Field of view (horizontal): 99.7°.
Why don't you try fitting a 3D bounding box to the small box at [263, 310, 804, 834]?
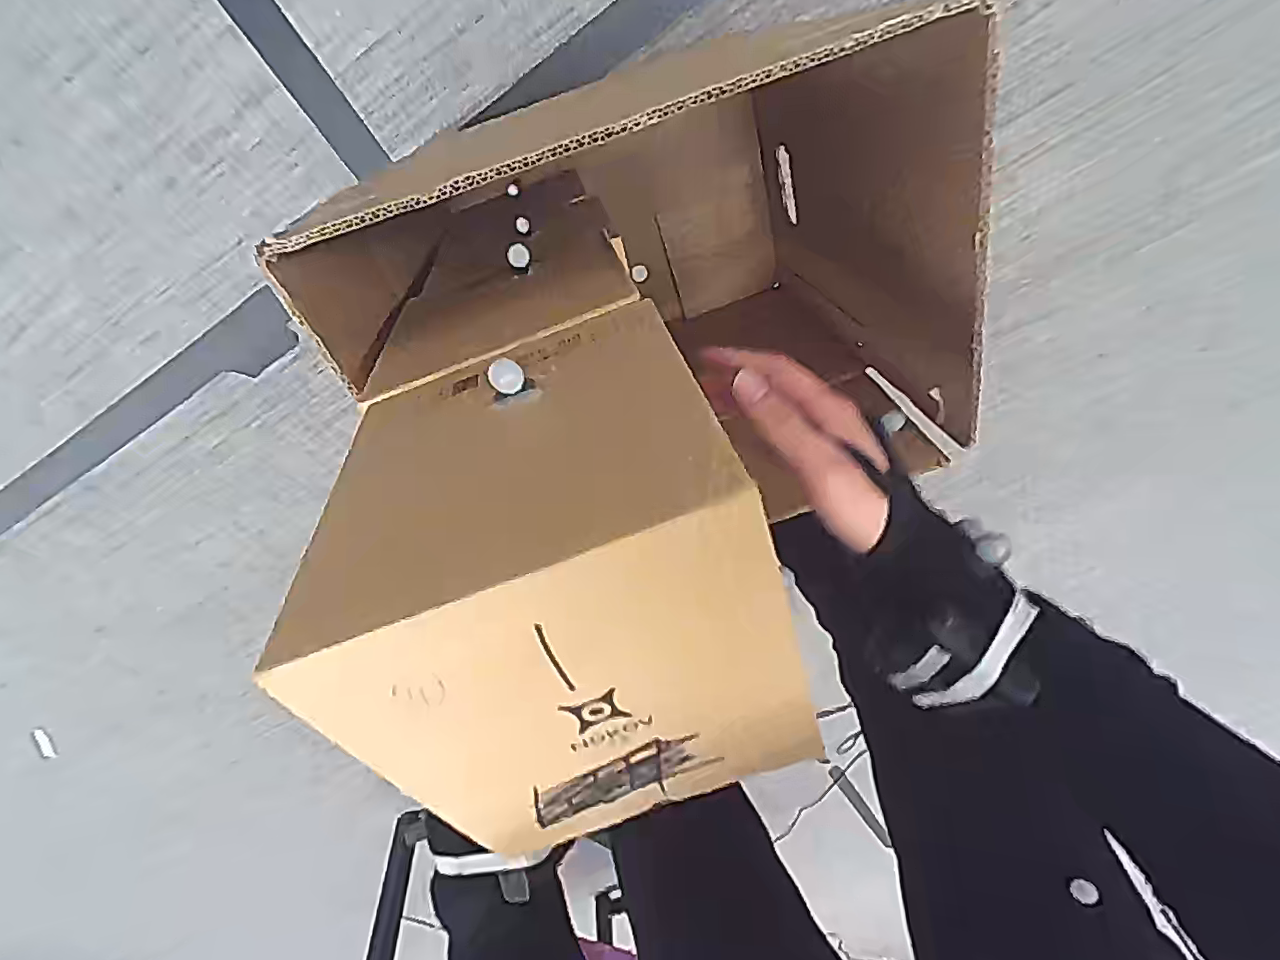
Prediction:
[{"bbox_3d":[-0.033,0.043,0.281,0.168,0.176,0.179,-21,128,2],"label":"small box"}]
